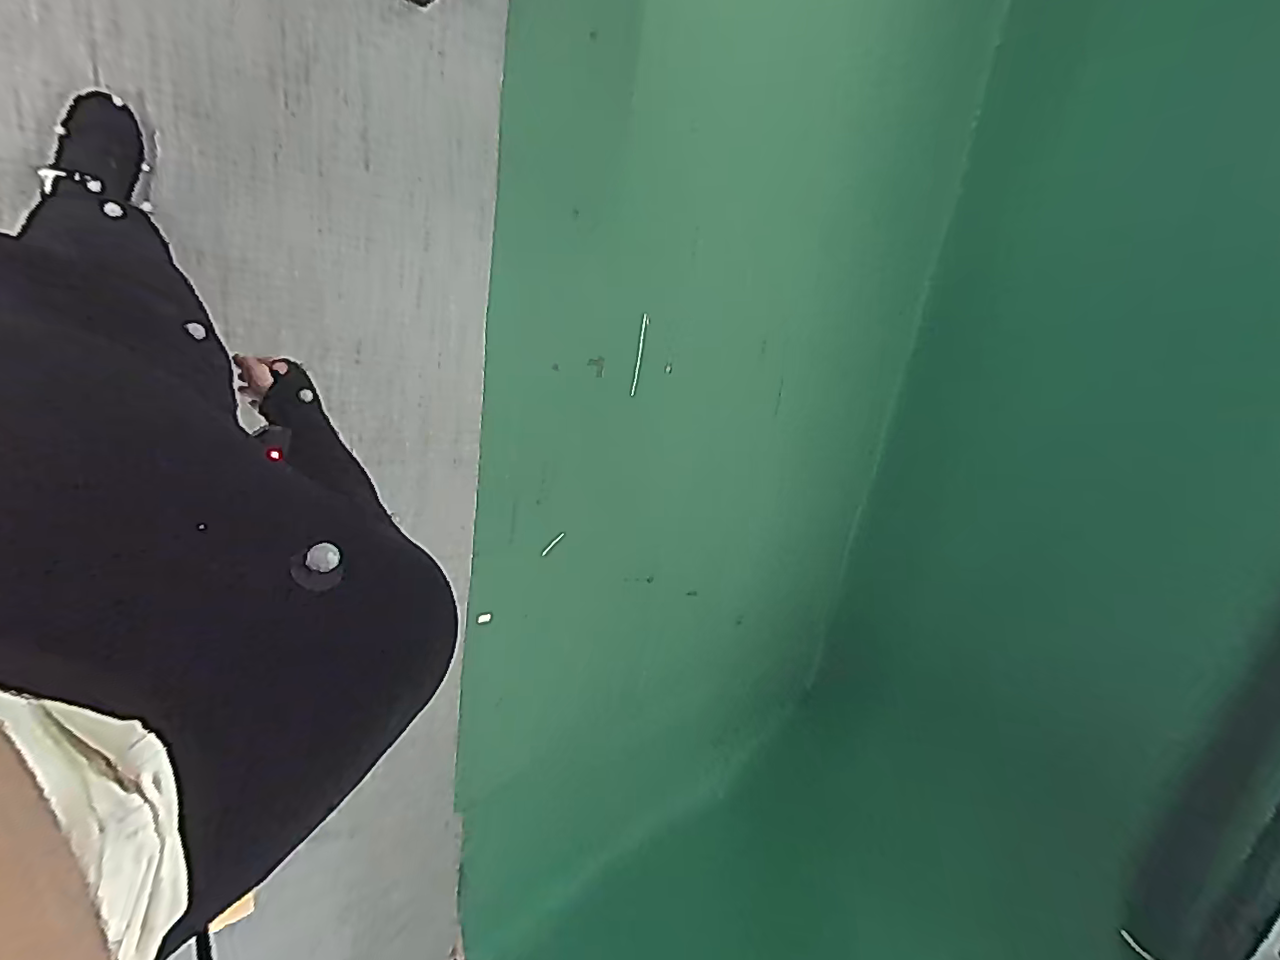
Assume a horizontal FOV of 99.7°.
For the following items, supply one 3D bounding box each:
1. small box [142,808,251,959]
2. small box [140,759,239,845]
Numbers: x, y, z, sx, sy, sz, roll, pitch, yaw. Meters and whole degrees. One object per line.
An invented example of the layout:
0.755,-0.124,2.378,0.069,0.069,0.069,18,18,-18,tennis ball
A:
-0.940,0.852,1.149,0.168,0.176,0.179,-6,112,-43,small box
-1.047,0.799,1.259,0.168,0.176,0.179,-5,113,-44,small box
